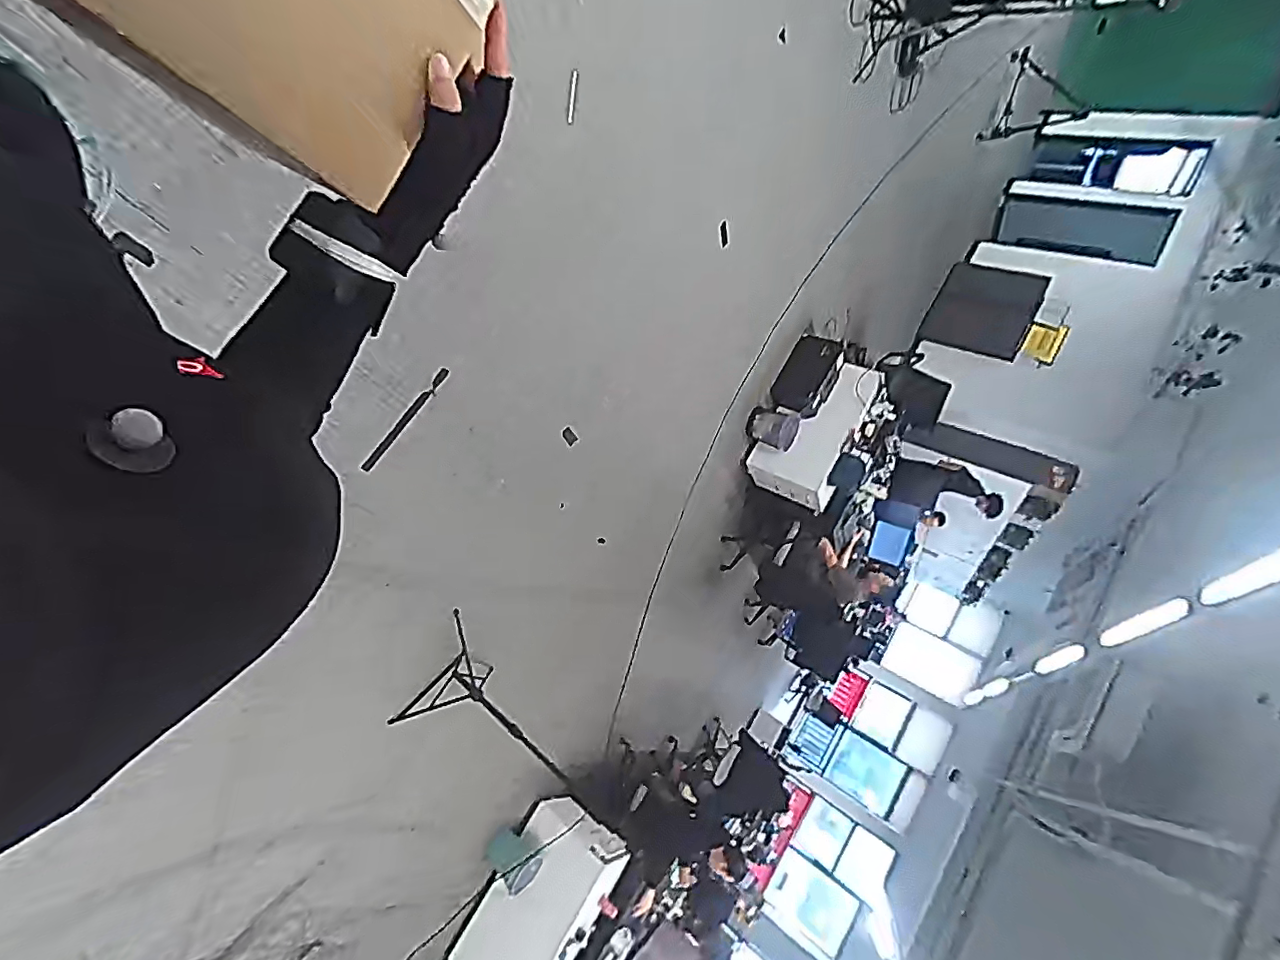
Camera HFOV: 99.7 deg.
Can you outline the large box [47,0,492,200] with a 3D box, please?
[{"bbox_3d":[-0.316,-0.451,0.308,0.320,0.320,0.408,-56,146,5],"label":"large box"}]
